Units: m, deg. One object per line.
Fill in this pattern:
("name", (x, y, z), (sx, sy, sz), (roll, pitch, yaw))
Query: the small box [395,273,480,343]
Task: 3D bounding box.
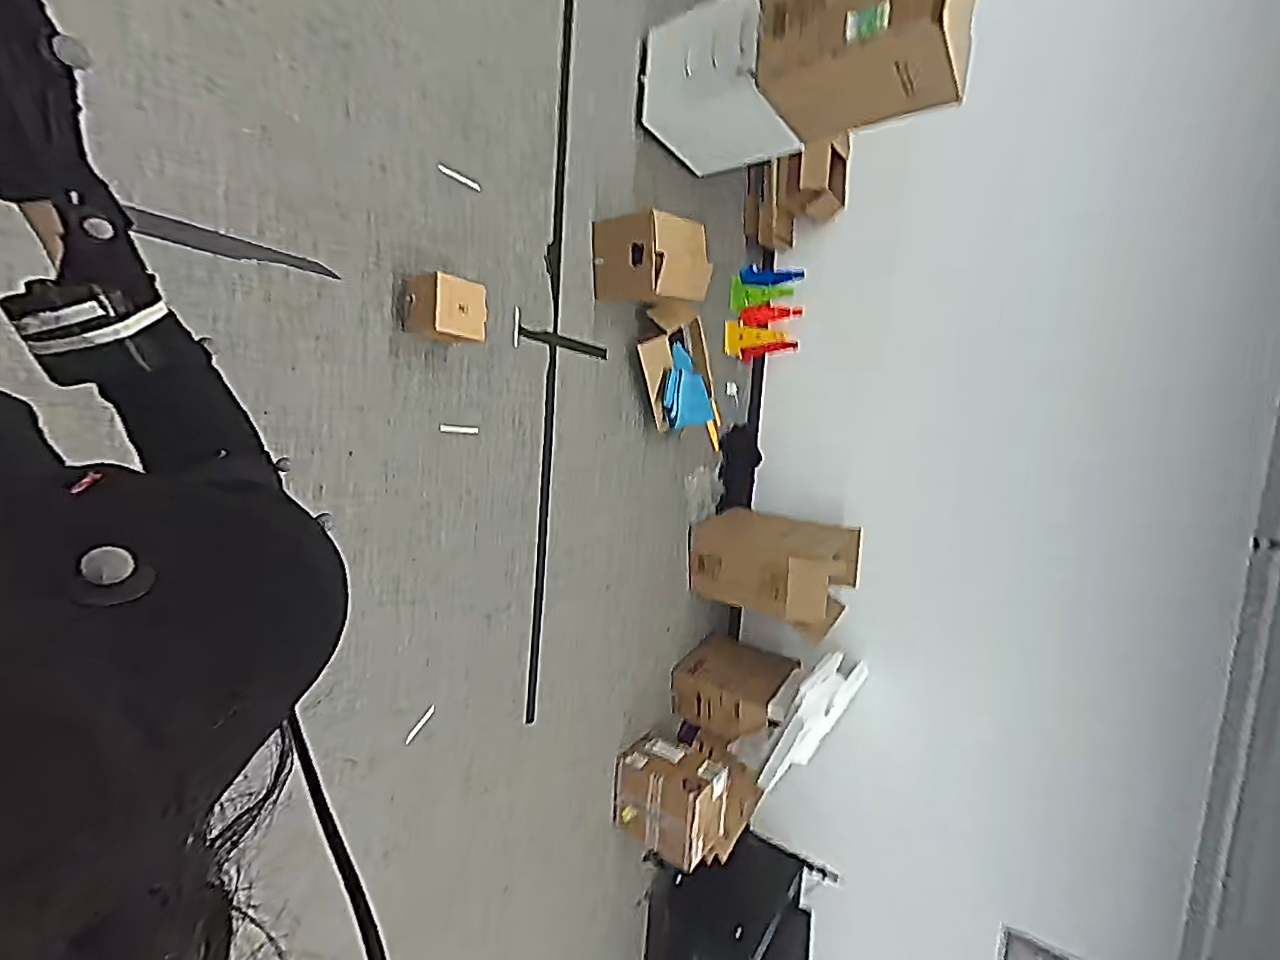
("small box", (-0.612, -0.513, 1.637), (0.179, 0.176, 0.168), (-1, 97, -55))
